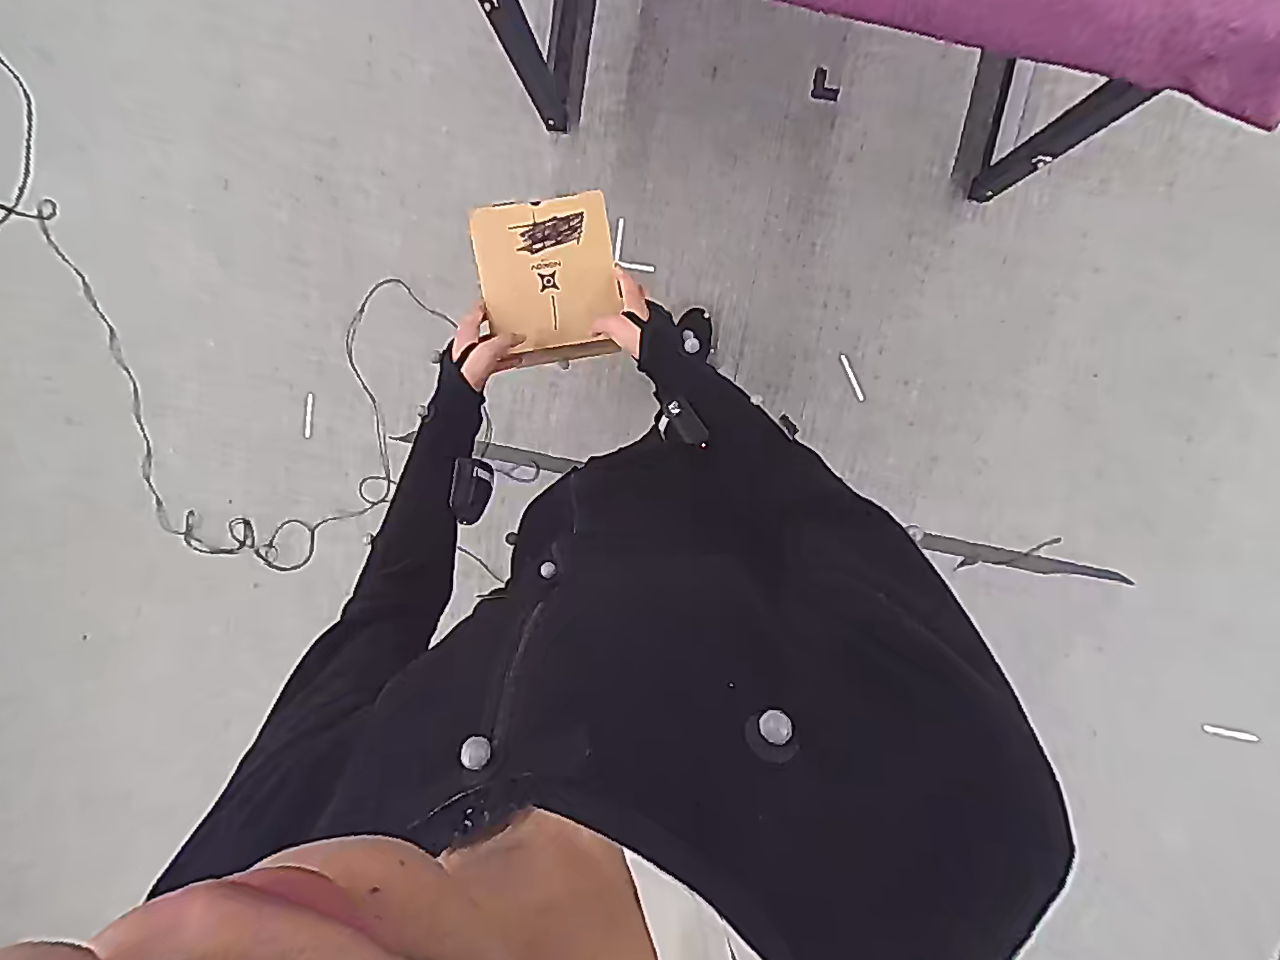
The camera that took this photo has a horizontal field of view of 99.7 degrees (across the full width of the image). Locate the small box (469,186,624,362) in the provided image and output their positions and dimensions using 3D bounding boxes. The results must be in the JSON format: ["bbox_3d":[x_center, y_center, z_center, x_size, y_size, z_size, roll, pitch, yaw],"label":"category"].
[{"bbox_3d":[-0.118,-0.265,0.731,0.168,0.176,0.179,-9,98,-3],"label":"small box"}]

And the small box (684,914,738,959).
[{"bbox_3d":[0.235,1.612,1.809,0.168,0.176,0.179,5,100,3],"label":"small box"}]
